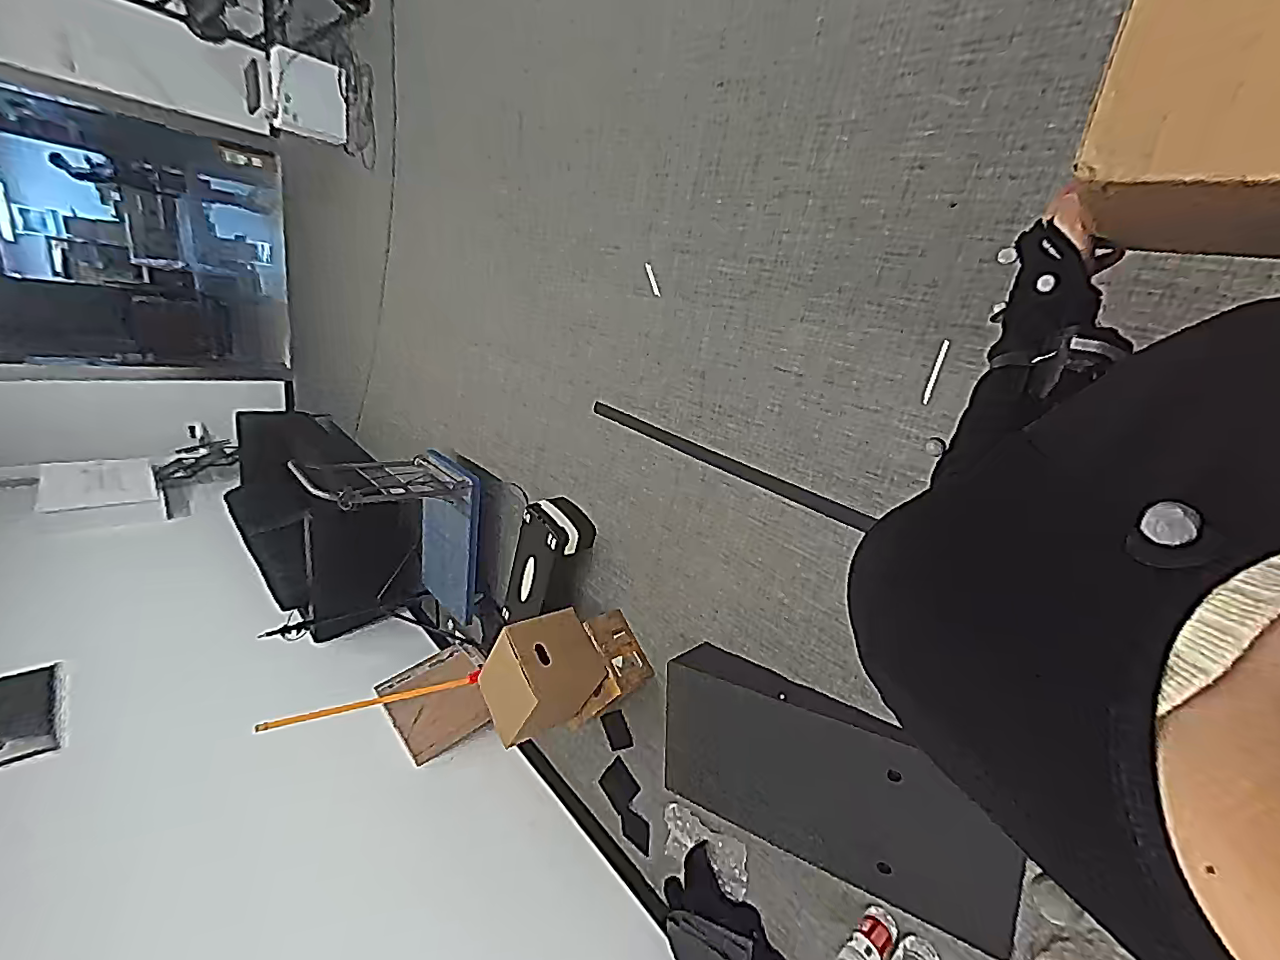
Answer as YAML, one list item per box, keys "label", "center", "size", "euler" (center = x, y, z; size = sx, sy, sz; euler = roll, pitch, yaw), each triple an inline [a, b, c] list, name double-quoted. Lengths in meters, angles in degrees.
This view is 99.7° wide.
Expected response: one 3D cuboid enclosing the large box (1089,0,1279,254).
- label: "large box"
  center: [0.478, -0.265, 0.214]
  size: [0.408, 0.320, 0.320]
  euler: [22, 116, 34]
